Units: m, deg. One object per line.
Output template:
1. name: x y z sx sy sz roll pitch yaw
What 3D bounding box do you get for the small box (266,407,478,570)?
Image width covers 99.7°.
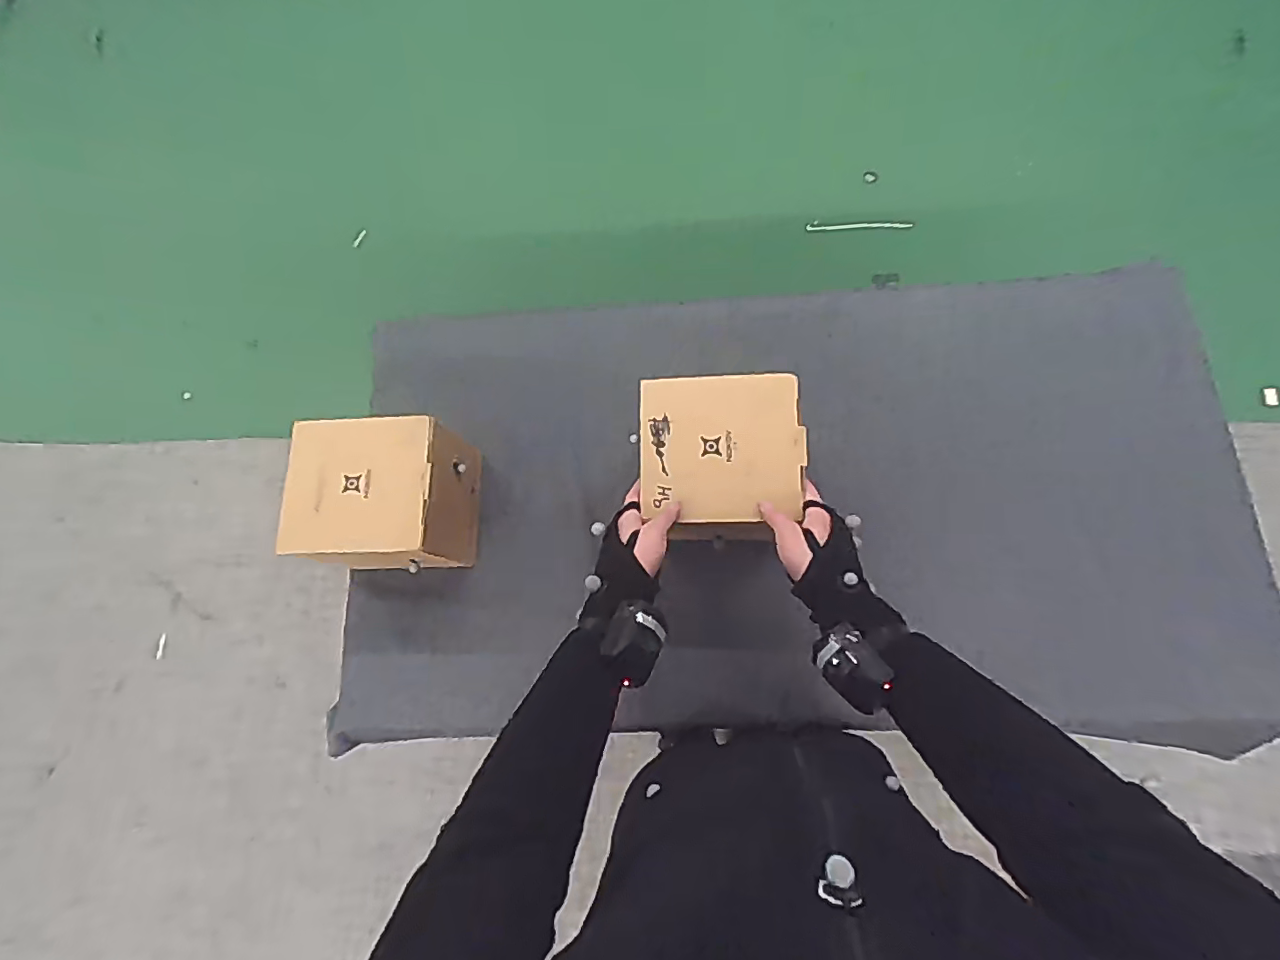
1. small box: -0.316 0.019 0.679 0.179 0.176 0.168 -3 73 3

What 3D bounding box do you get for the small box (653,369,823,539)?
1. small box: 0.105 -0.022 0.650 0.179 0.176 0.168 0 76 3
